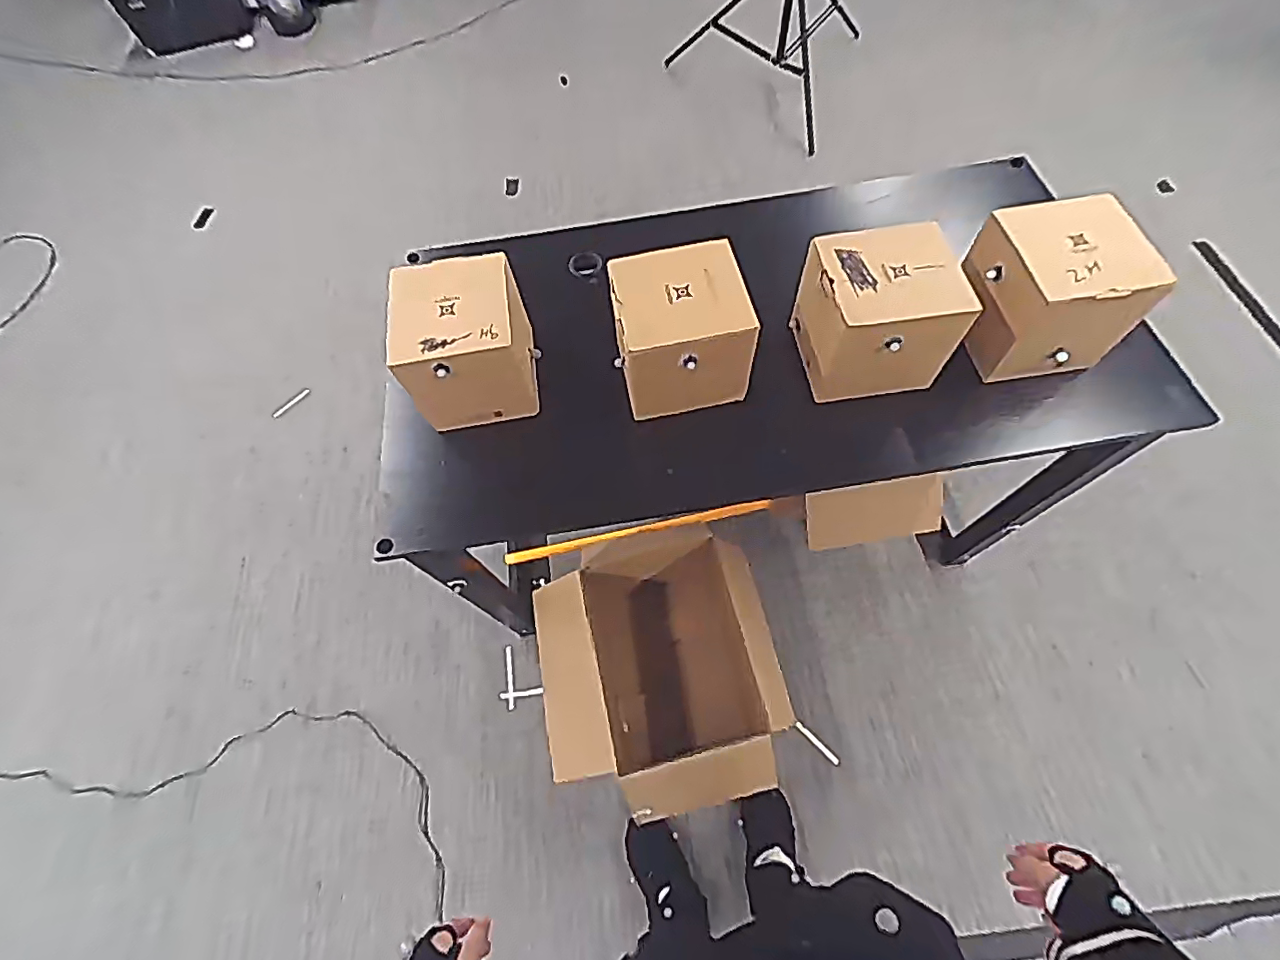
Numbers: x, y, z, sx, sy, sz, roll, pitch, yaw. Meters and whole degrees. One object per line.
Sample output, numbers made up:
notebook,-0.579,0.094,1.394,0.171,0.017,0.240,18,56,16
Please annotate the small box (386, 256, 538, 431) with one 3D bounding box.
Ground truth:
small box,-0.254,-0.197,0.803,0.168,0.176,0.179,-10,63,-1

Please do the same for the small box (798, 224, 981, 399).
small box,0.336,-0.232,0.777,0.179,0.176,0.168,-7,63,1

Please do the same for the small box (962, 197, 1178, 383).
small box,0.579,-0.266,0.774,0.168,0.176,0.179,-8,63,2

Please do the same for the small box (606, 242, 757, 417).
small box,0.057,-0.210,0.790,0.179,0.176,0.168,-11,65,-2
